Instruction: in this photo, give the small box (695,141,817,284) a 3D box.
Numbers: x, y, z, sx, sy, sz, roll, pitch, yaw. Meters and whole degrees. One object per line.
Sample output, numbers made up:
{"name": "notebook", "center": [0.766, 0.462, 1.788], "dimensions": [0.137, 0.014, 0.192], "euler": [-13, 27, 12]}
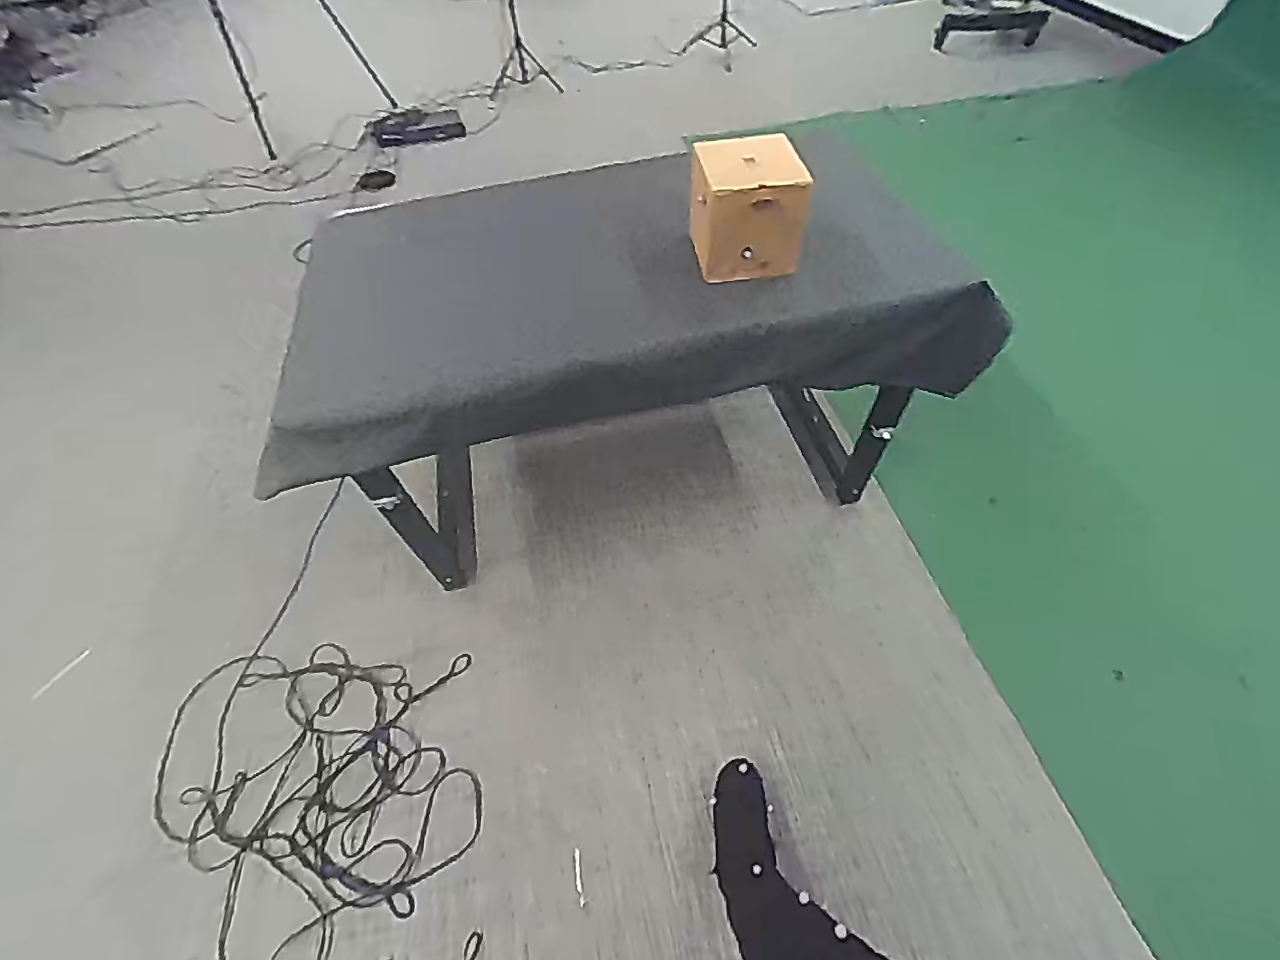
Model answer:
{"name": "small box", "center": [0.195, -0.478, 0.972], "dimensions": [0.168, 0.176, 0.179], "euler": [-7, 54, -2]}
